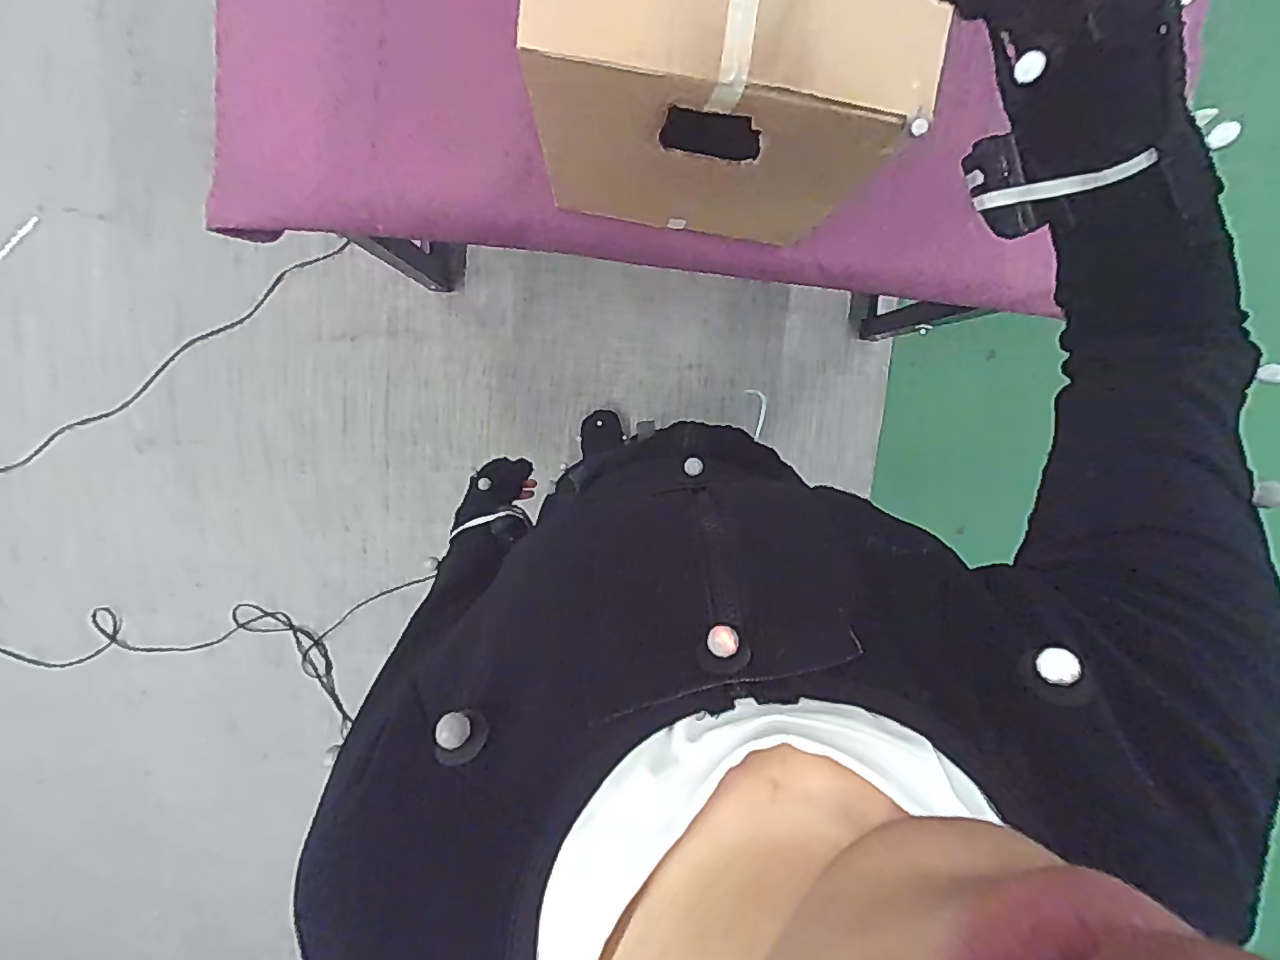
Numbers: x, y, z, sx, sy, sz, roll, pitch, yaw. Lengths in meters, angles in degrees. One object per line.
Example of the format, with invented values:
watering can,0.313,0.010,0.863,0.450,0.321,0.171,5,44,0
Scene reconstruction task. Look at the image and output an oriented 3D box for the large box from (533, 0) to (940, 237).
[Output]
large box,0.083,-0.512,0.535,0.320,0.320,0.408,7,98,-4
